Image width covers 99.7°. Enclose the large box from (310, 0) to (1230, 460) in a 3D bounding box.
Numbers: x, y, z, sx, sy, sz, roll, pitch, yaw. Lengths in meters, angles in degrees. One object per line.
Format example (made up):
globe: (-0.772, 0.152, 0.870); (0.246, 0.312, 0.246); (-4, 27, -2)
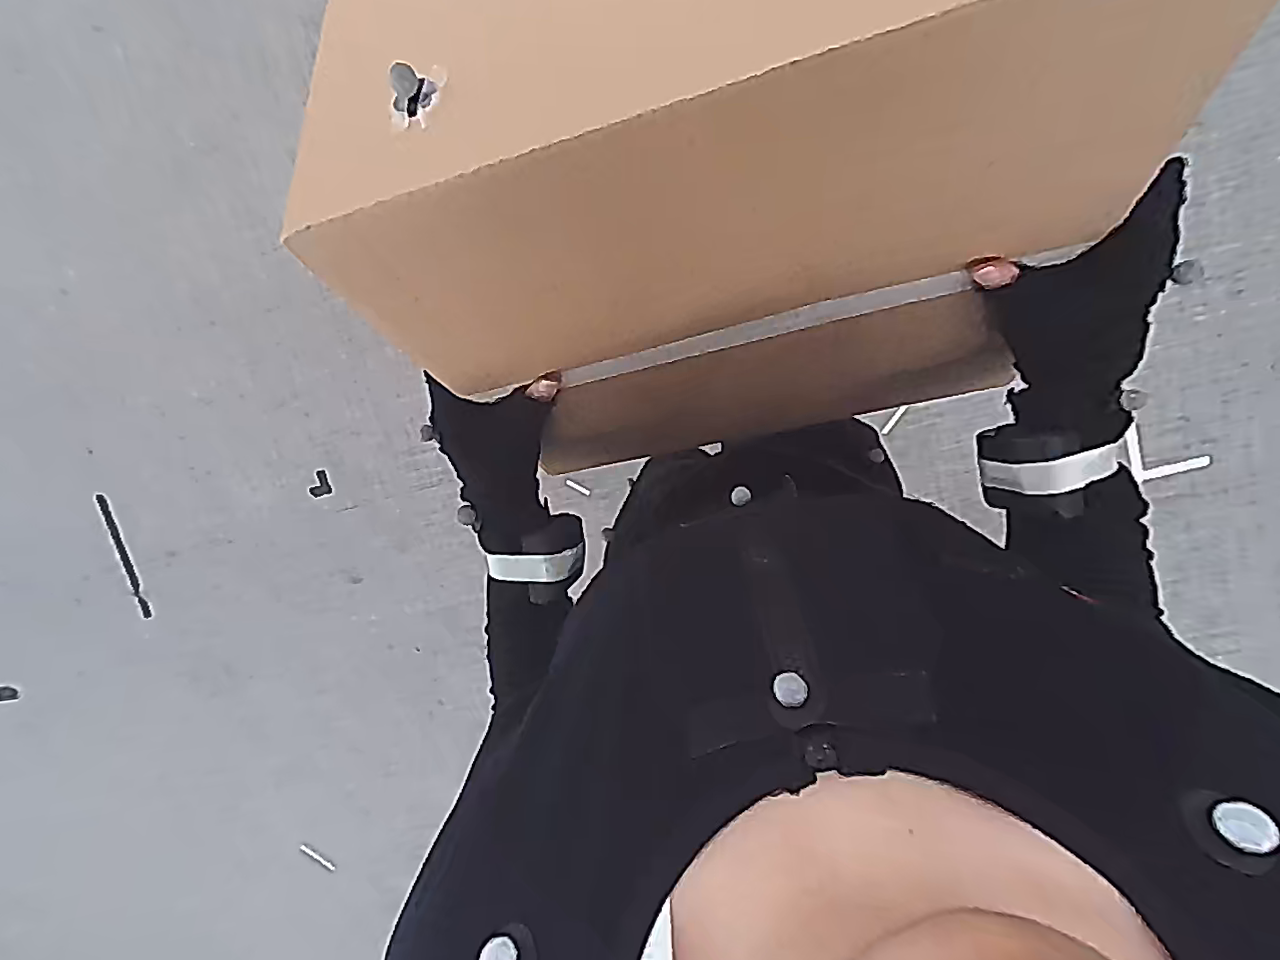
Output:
large box: (0.051, -0.246, 0.409); (0.408, 0.320, 0.320); (-11, 68, 11)
